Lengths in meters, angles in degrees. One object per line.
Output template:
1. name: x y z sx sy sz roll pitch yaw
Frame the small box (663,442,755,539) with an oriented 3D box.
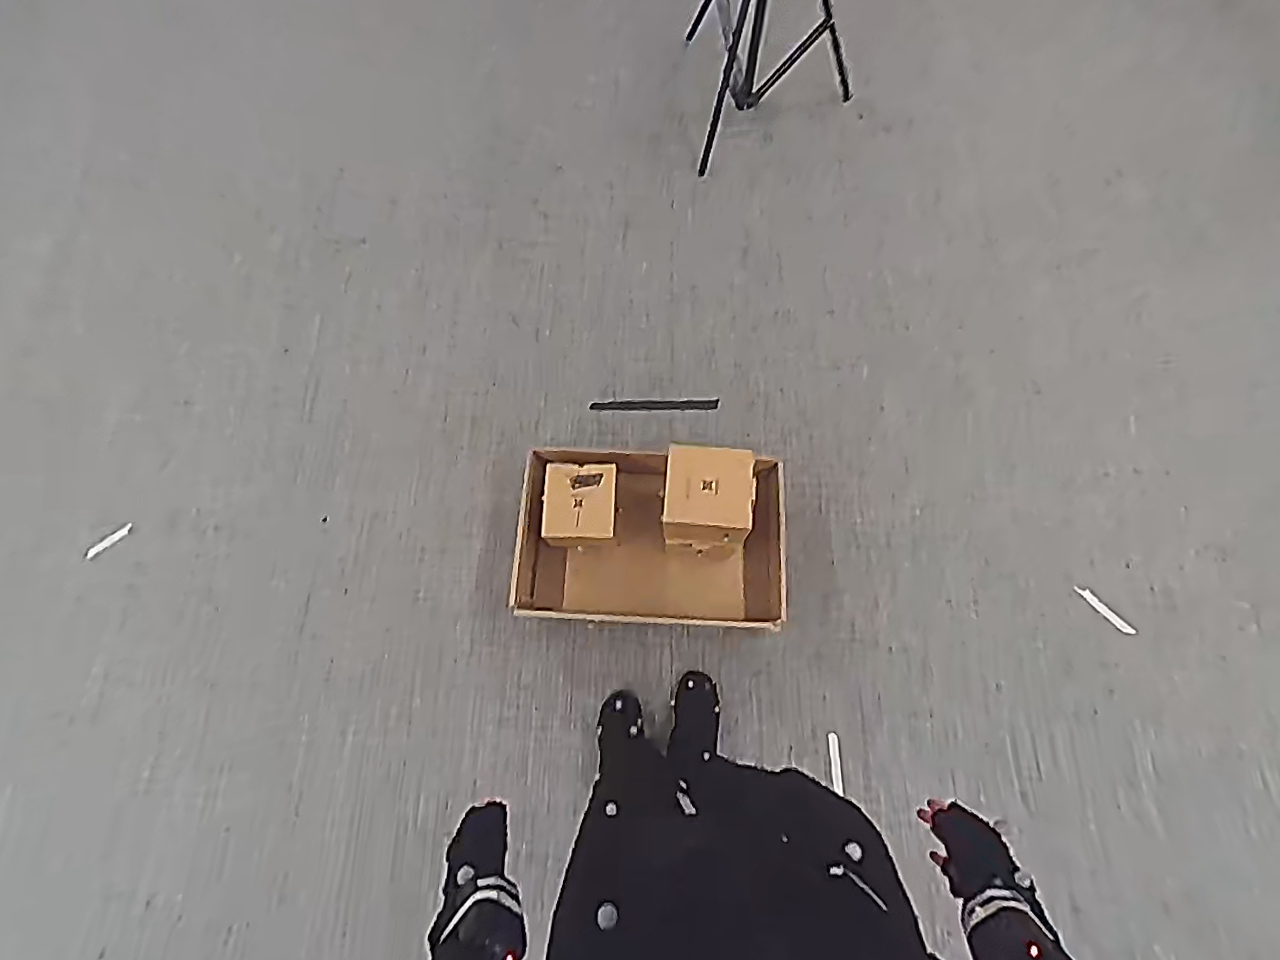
1. small box: 0.143 0.028 1.151 0.179 0.176 0.168 4 73 5

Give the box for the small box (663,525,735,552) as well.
1. small box: 0.147 0.077 1.309 0.168 0.176 0.179 3 76 6
